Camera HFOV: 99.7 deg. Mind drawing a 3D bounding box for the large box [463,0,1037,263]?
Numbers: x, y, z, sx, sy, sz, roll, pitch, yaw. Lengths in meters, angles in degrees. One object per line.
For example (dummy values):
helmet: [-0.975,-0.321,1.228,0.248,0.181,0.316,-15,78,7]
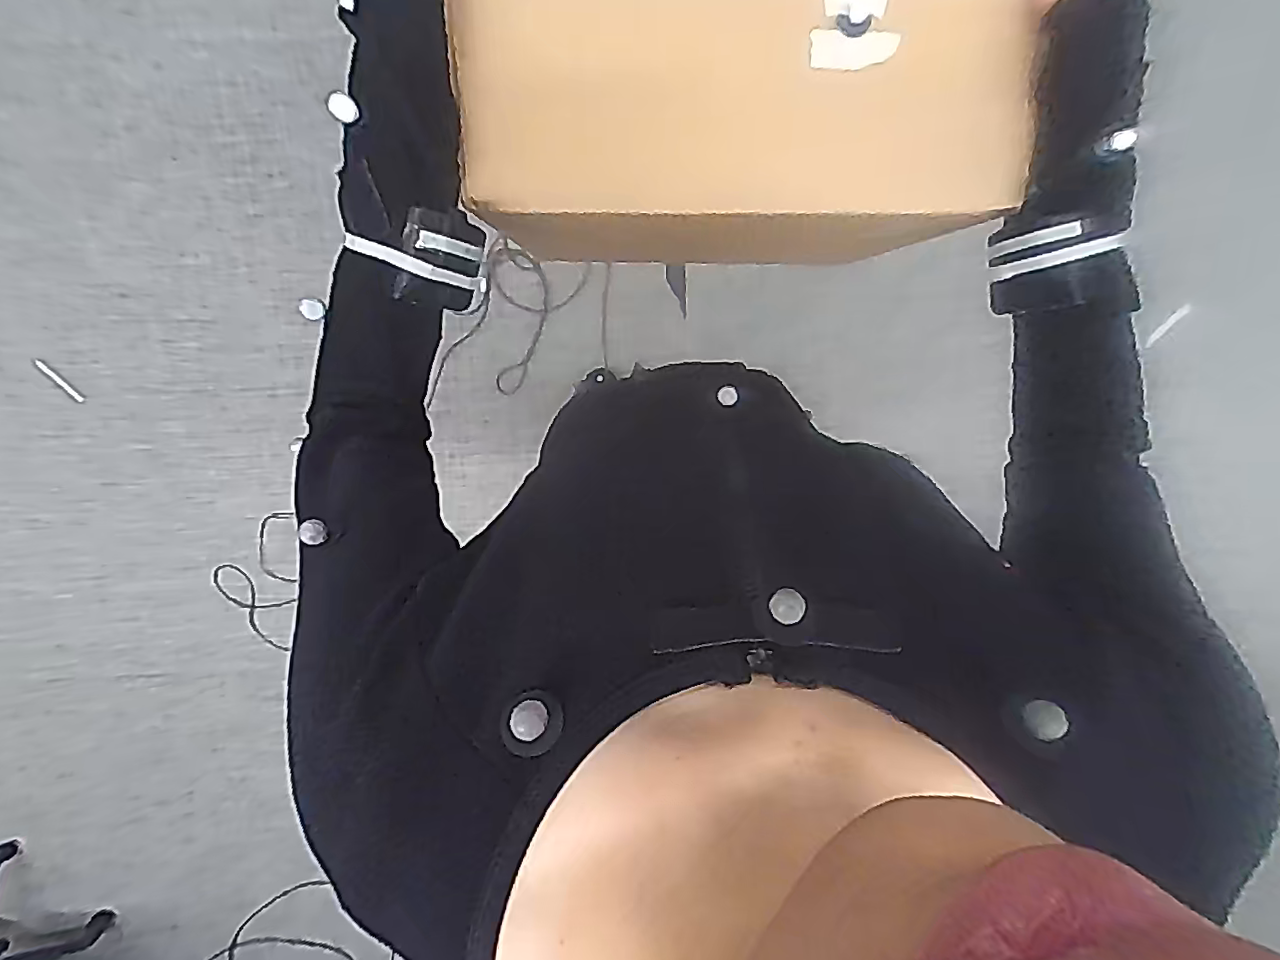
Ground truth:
large box: [0.071,-0.391,0.508,0.408,0.320,0.320,-1,106,-1]
